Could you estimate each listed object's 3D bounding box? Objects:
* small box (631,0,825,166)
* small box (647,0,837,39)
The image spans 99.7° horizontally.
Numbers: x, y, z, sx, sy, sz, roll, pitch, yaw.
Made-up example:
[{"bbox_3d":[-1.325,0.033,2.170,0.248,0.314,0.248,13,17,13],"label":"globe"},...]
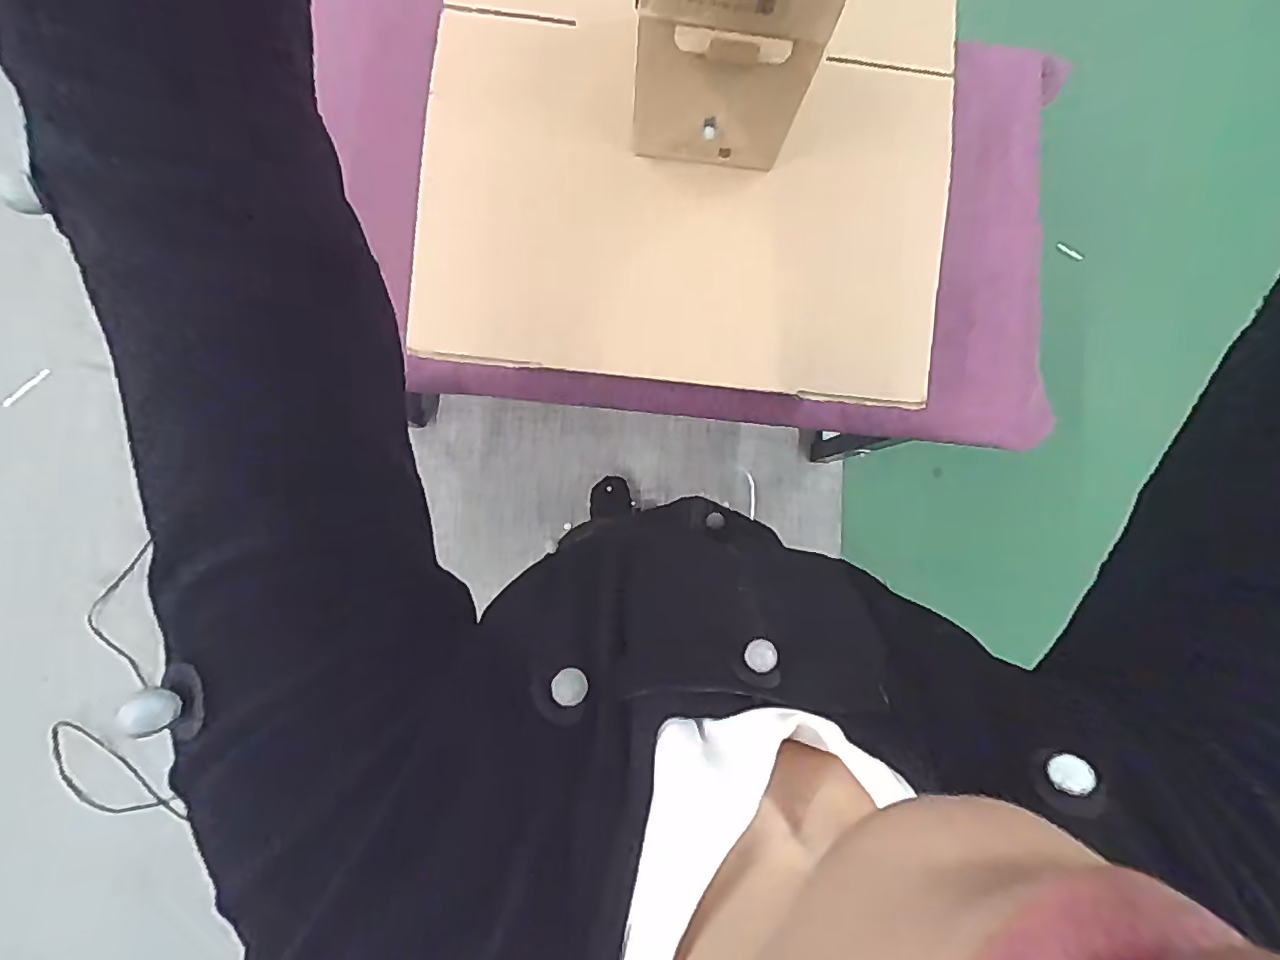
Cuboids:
[{"bbox_3d":[0.081,-0.463,0.549,0.168,0.176,0.179,5,84,-2],"label":"small box"},{"bbox_3d":[0.089,-0.478,0.387,0.168,0.176,0.179,6,84,-3],"label":"small box"}]
